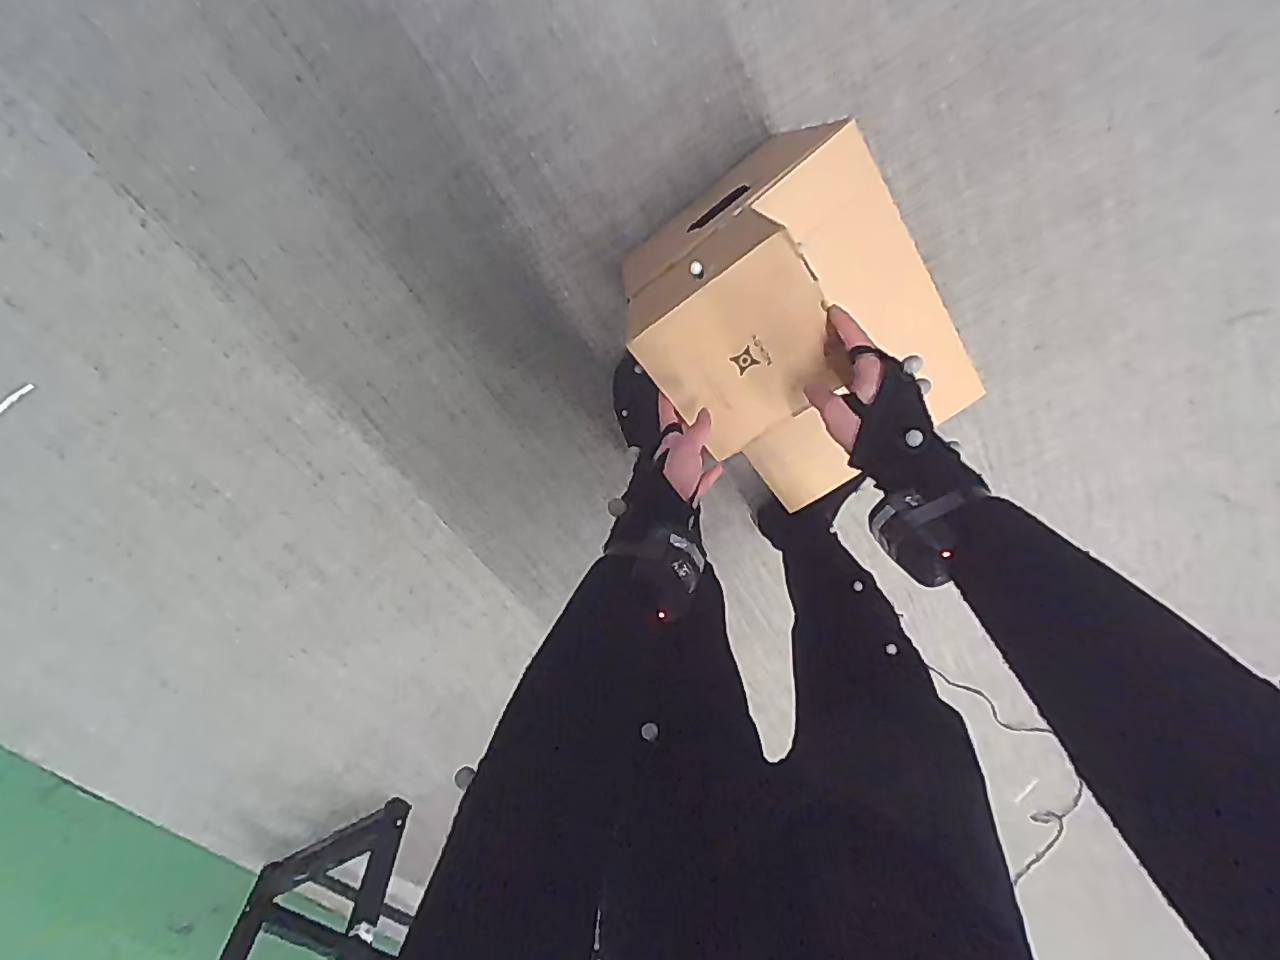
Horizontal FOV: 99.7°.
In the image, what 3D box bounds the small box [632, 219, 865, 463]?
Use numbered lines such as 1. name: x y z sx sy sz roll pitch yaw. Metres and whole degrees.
1. small box: 0.107 -0.158 0.591 0.179 0.176 0.168 -33 115 20
